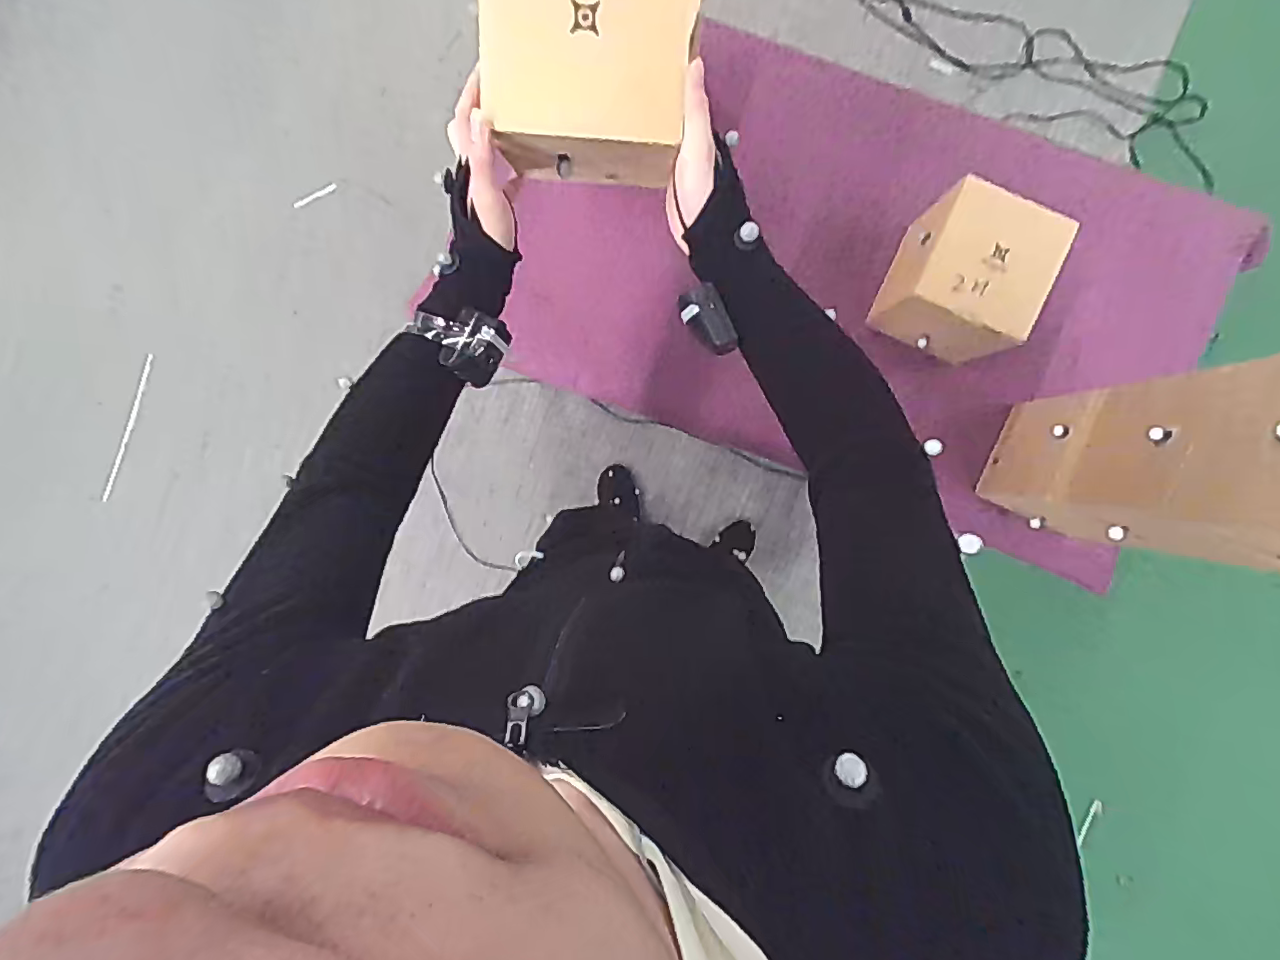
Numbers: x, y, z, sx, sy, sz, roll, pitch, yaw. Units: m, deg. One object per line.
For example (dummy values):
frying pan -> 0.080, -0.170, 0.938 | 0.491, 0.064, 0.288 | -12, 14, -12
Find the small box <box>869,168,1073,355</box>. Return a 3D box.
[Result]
small box -> 0.472, -0.309, 0.804 | 0.168, 0.176, 0.179 | 24, 93, 0

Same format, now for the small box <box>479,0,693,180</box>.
small box -> -0.042, -0.384, 0.487 | 0.168, 0.176, 0.179 | 2, 108, -2

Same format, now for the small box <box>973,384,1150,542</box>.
small box -> 0.656, -0.026, 0.812 | 0.179, 0.176, 0.168 | 24, 91, 0
